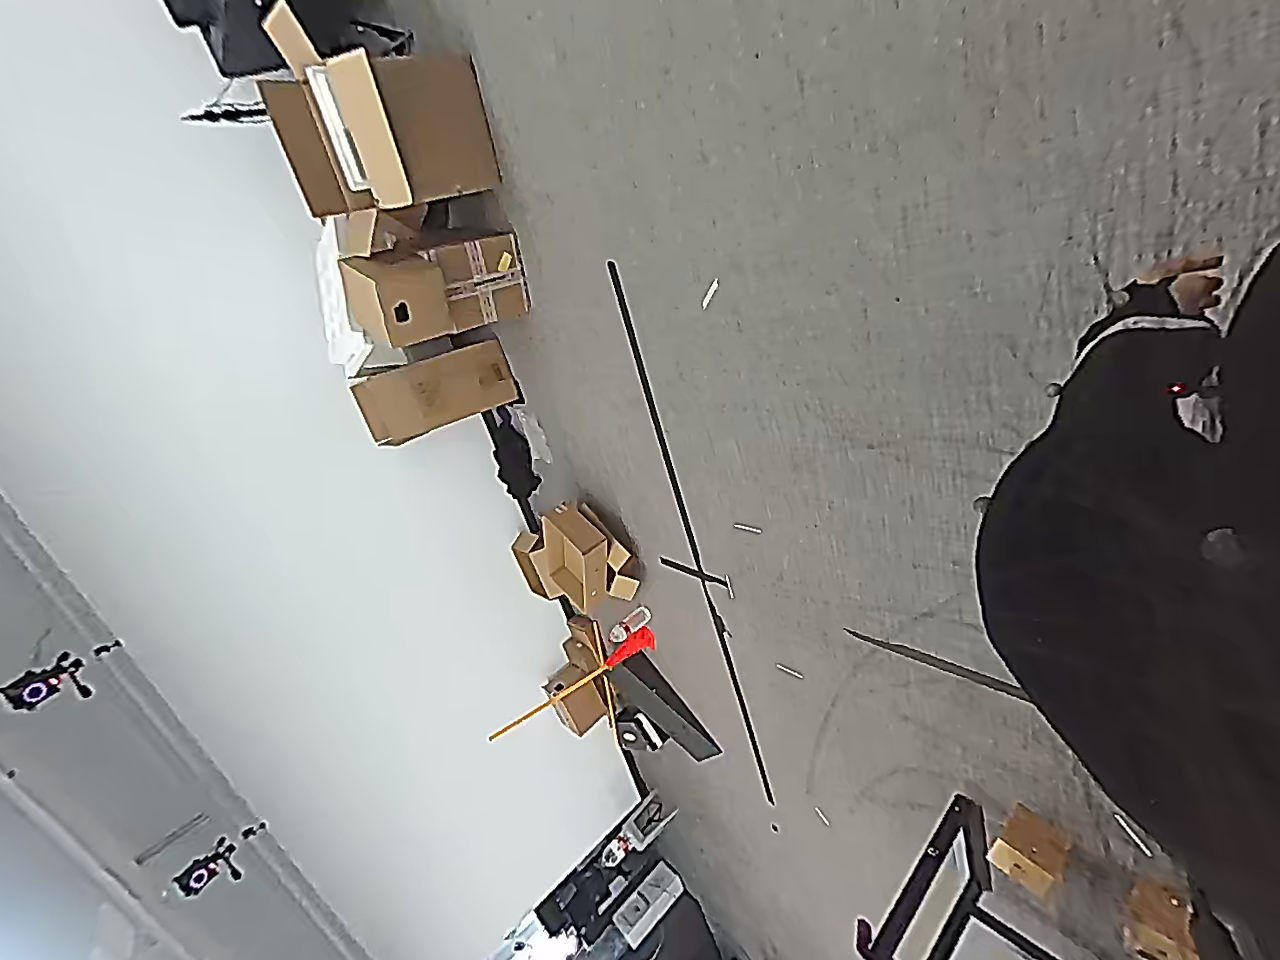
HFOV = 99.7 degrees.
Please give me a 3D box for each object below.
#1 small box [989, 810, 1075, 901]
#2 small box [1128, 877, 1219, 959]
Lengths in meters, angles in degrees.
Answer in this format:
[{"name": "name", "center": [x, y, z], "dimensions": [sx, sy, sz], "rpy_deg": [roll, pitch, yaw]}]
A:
[{"name": "small box", "center": [1.363, 1.294, 1.881], "dimensions": [0.179, 0.176, 0.168], "rpy_deg": [28, 137, 39]}, {"name": "small box", "center": [1.585, 1.350, 1.607], "dimensions": [0.168, 0.176, 0.179], "rpy_deg": [10, 123, 52]}]
